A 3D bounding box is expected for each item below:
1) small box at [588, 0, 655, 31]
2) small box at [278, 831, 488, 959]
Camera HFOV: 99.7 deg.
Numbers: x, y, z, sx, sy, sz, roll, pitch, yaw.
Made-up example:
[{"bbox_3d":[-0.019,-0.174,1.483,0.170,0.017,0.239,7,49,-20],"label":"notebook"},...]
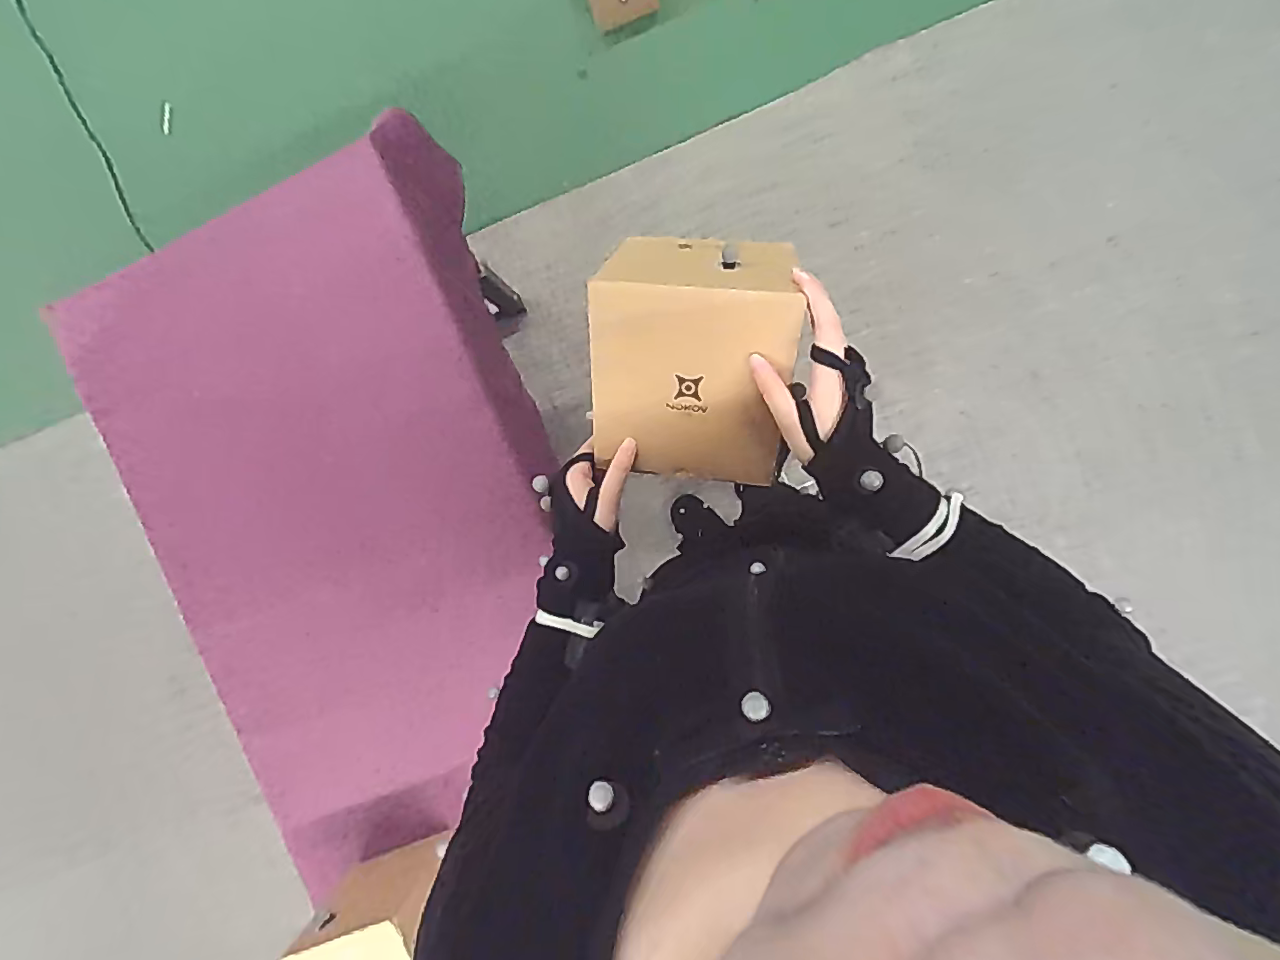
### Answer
[{"bbox_3d":[-0.063,-1.316,1.383,0.179,0.176,0.168,-19,90,7],"label":"small box"},{"bbox_3d":[-0.346,0.644,0.759,0.179,0.176,0.168,-24,90,6],"label":"small box"}]
